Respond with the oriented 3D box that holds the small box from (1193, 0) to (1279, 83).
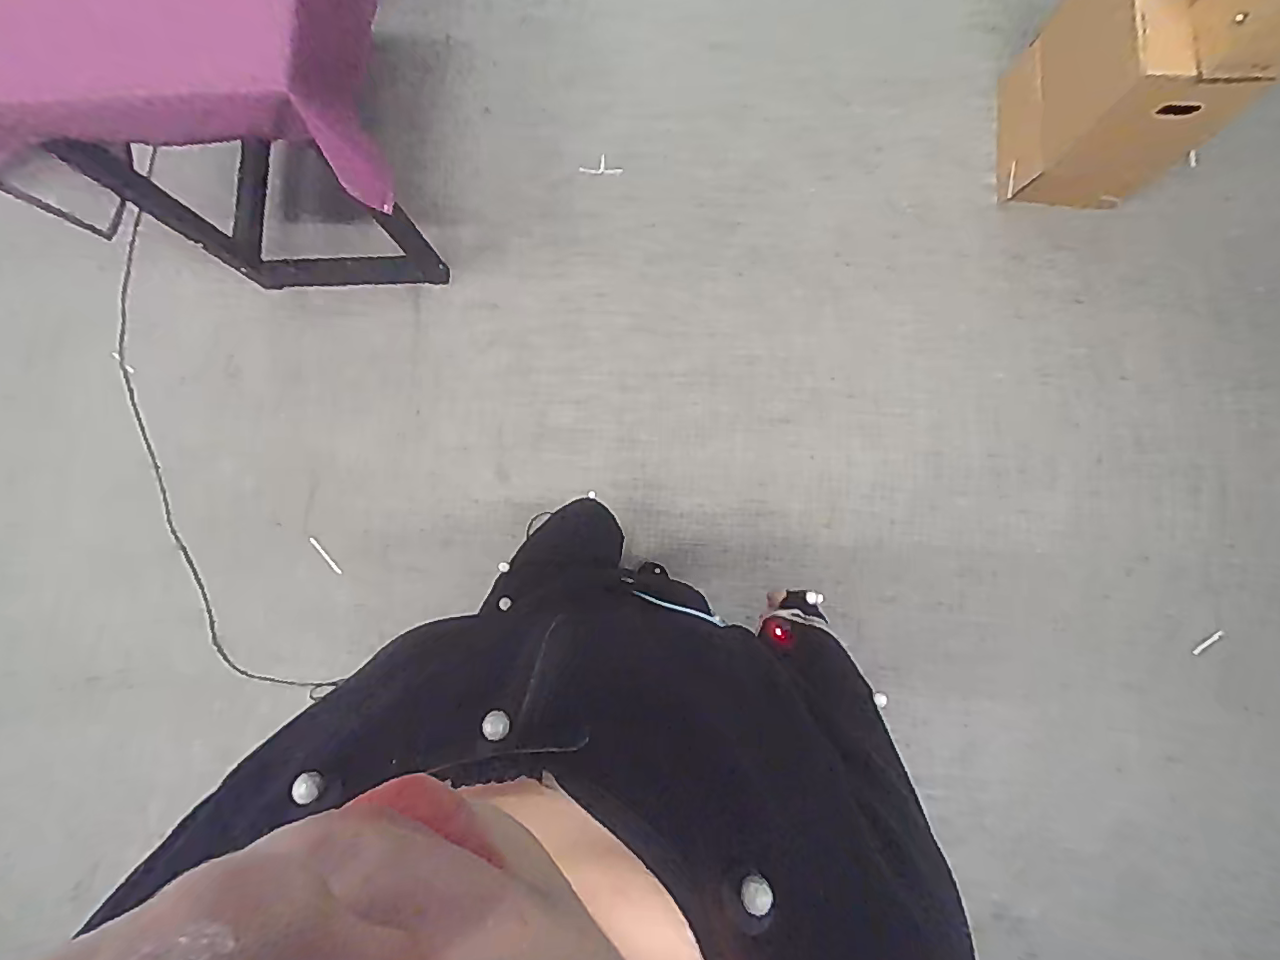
[{"bbox_3d":[1.251,-0.921,1.060,0.168,0.176,0.179,2,82,1],"label":"small box"}]
